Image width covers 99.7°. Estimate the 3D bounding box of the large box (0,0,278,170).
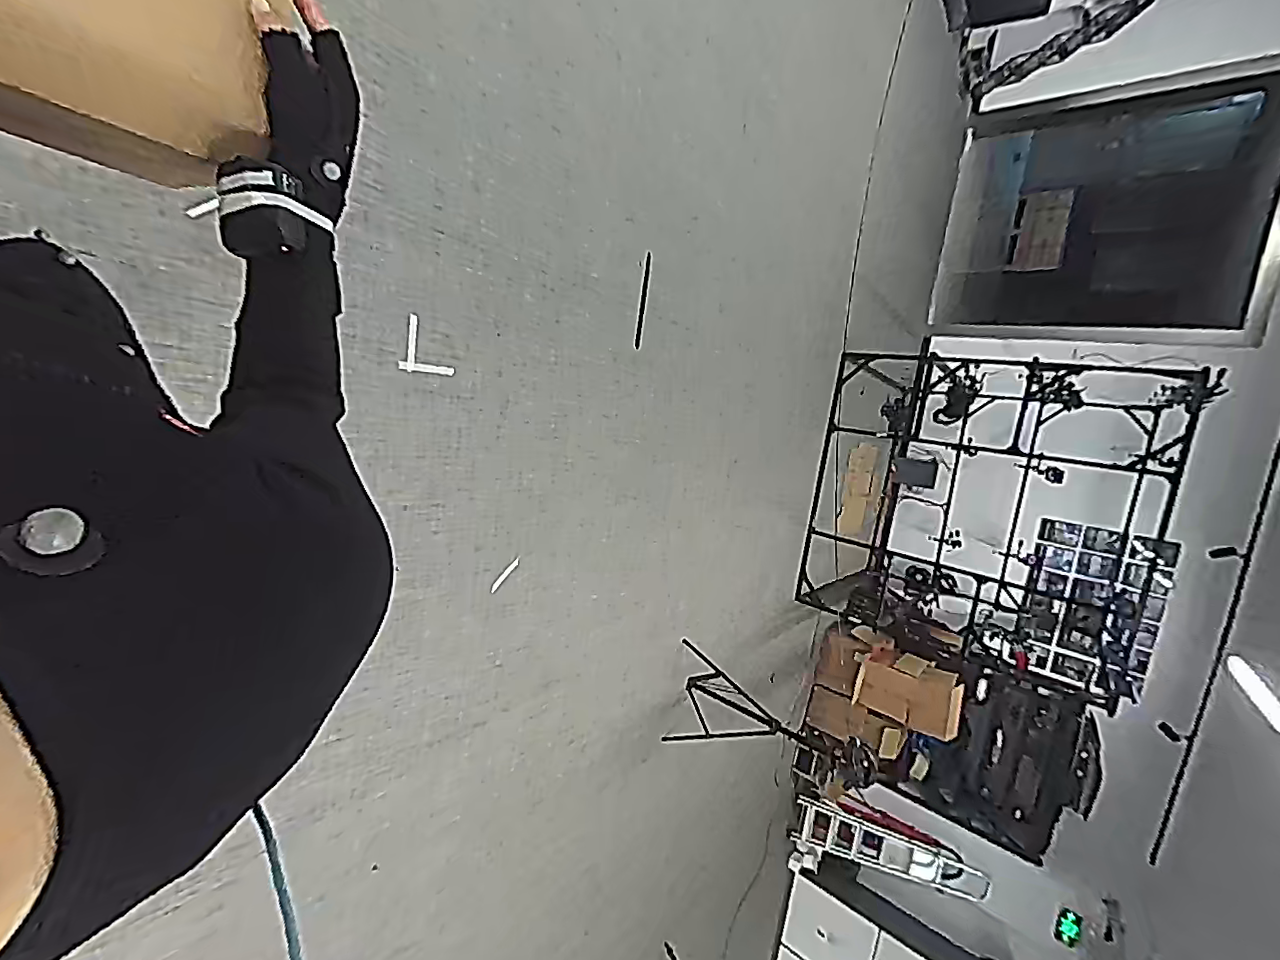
[{"bbox_3d":[-0.518,-0.454,0.356,0.408,0.320,0.320,0,109,-53],"label":"large box"}]
